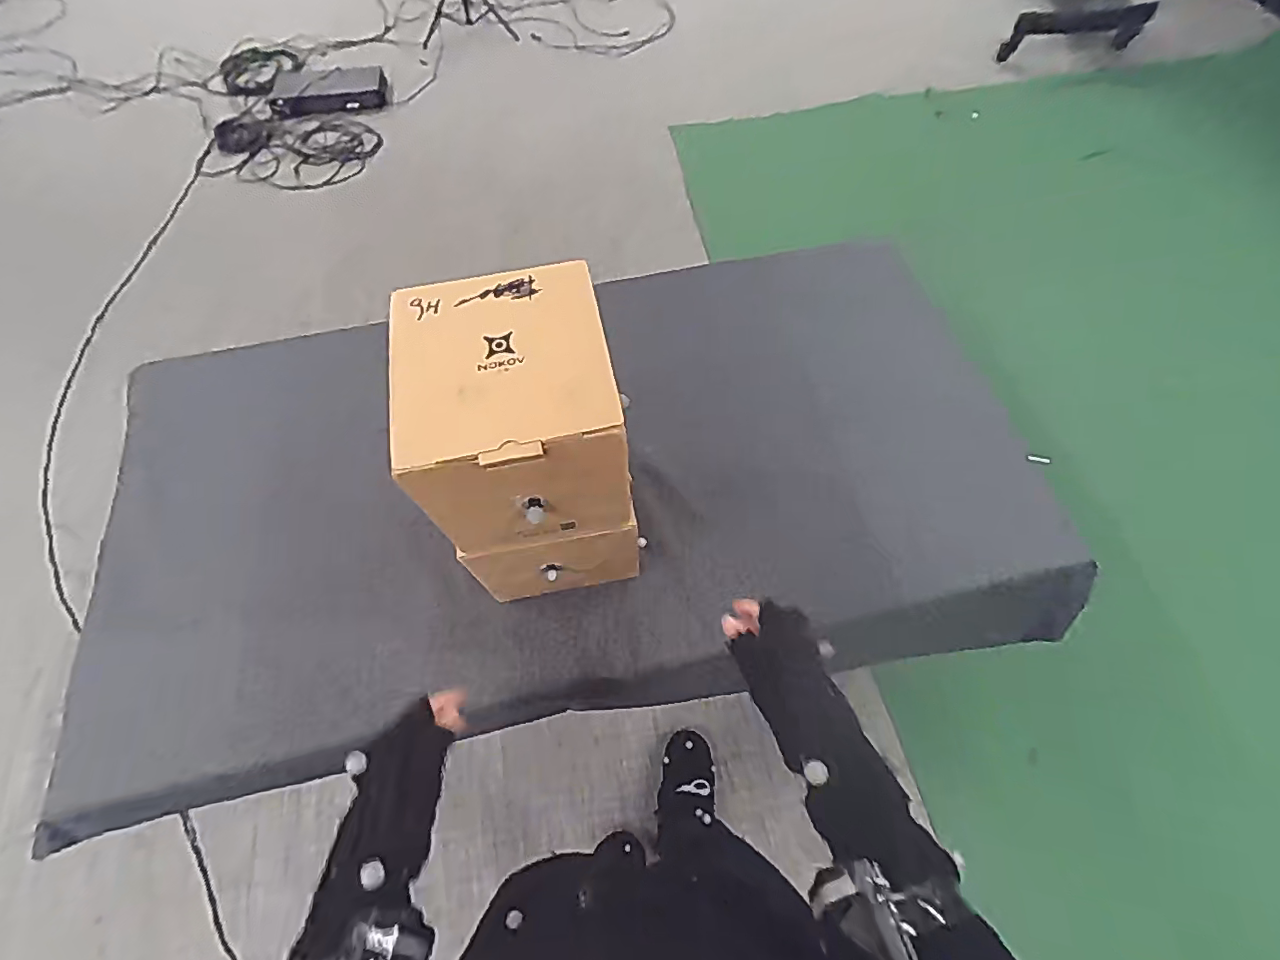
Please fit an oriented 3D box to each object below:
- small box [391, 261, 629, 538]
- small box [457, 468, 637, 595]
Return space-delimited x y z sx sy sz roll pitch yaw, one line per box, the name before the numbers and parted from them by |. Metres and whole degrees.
small box | -0.105 -0.059 0.484 0.168 0.176 0.179 -11 64 -5
small box | -0.102 0.022 0.626 0.179 0.176 0.168 -10 64 -4
